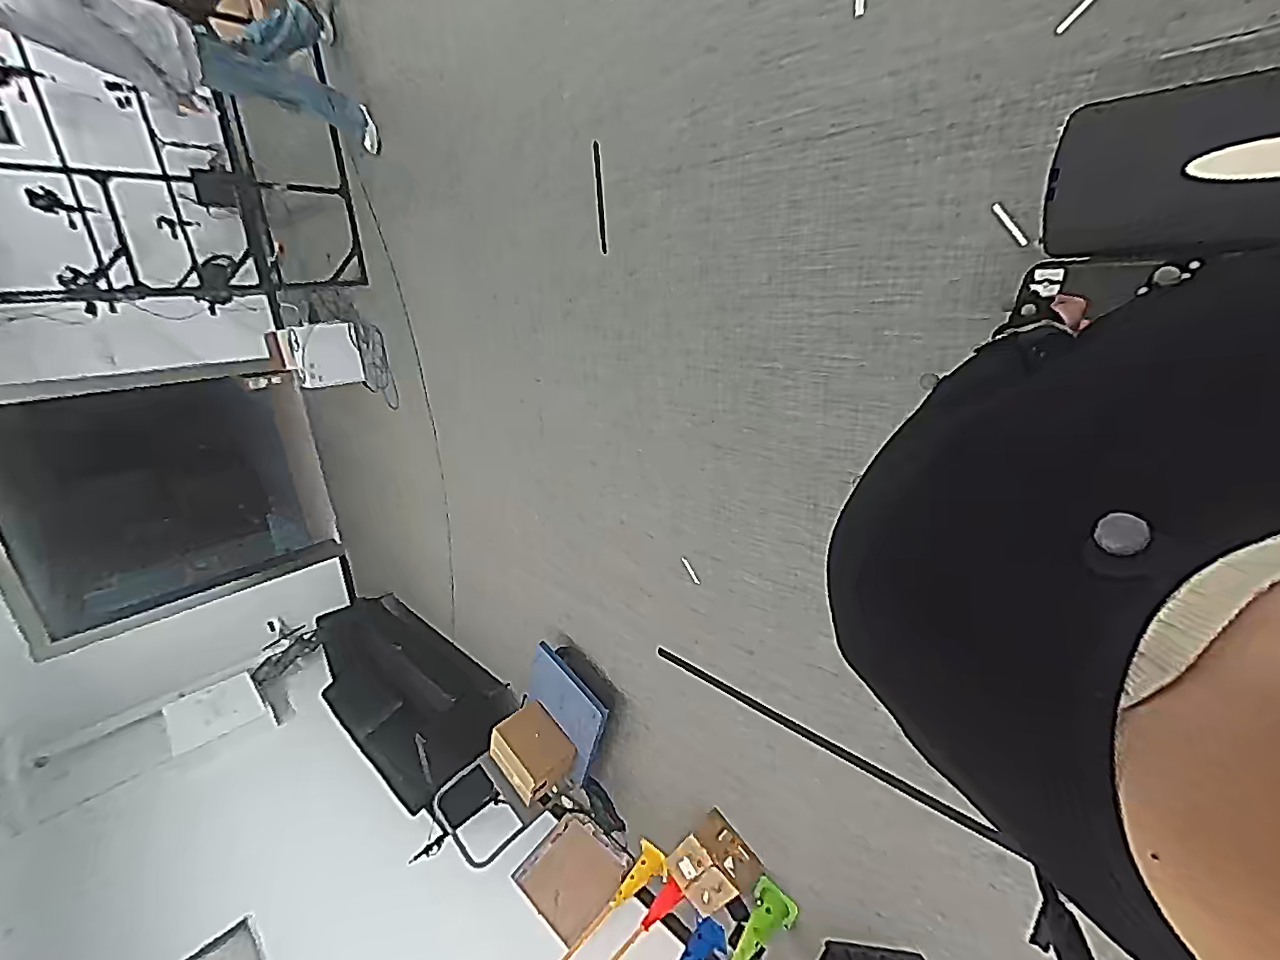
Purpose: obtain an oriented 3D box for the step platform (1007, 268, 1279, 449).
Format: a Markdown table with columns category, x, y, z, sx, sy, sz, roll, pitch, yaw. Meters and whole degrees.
| category | x | y | z | sx | sy | sz | roll | pitch | yaw |
| --- | --- | --- | --- | --- | --- | --- | --- | --- | --- |
| step platform | 1.093 | -0.227 | 0.993 | 0.684 | 0.204 | 0.286 | 23 | 120 | 41 |
